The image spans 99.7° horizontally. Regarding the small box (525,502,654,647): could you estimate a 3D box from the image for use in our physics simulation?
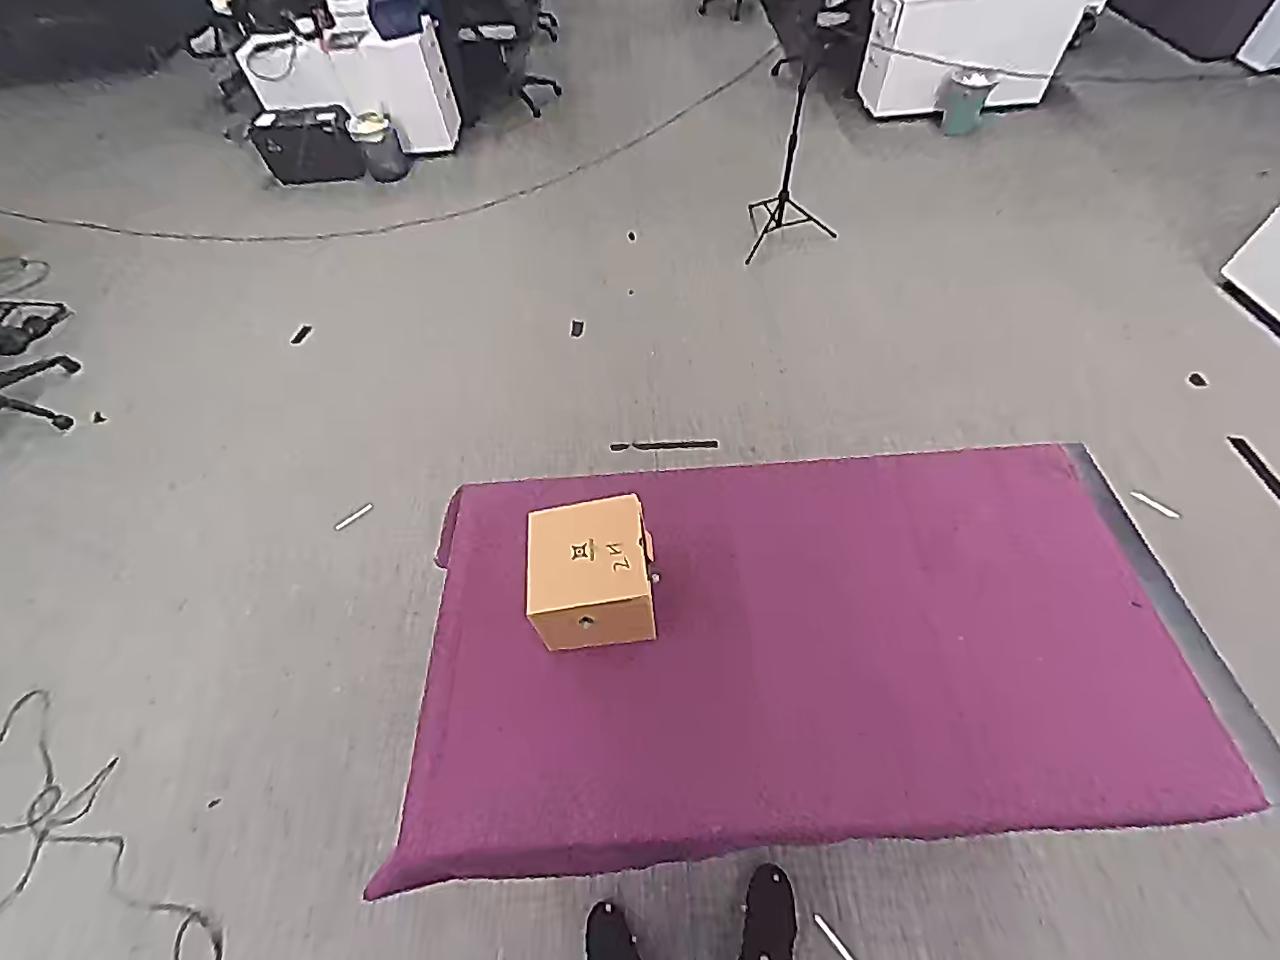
[{"bbox_3d":[-0.074,0.154,0.850,0.179,0.176,0.168,-5,56,-1],"label":"small box"}]
